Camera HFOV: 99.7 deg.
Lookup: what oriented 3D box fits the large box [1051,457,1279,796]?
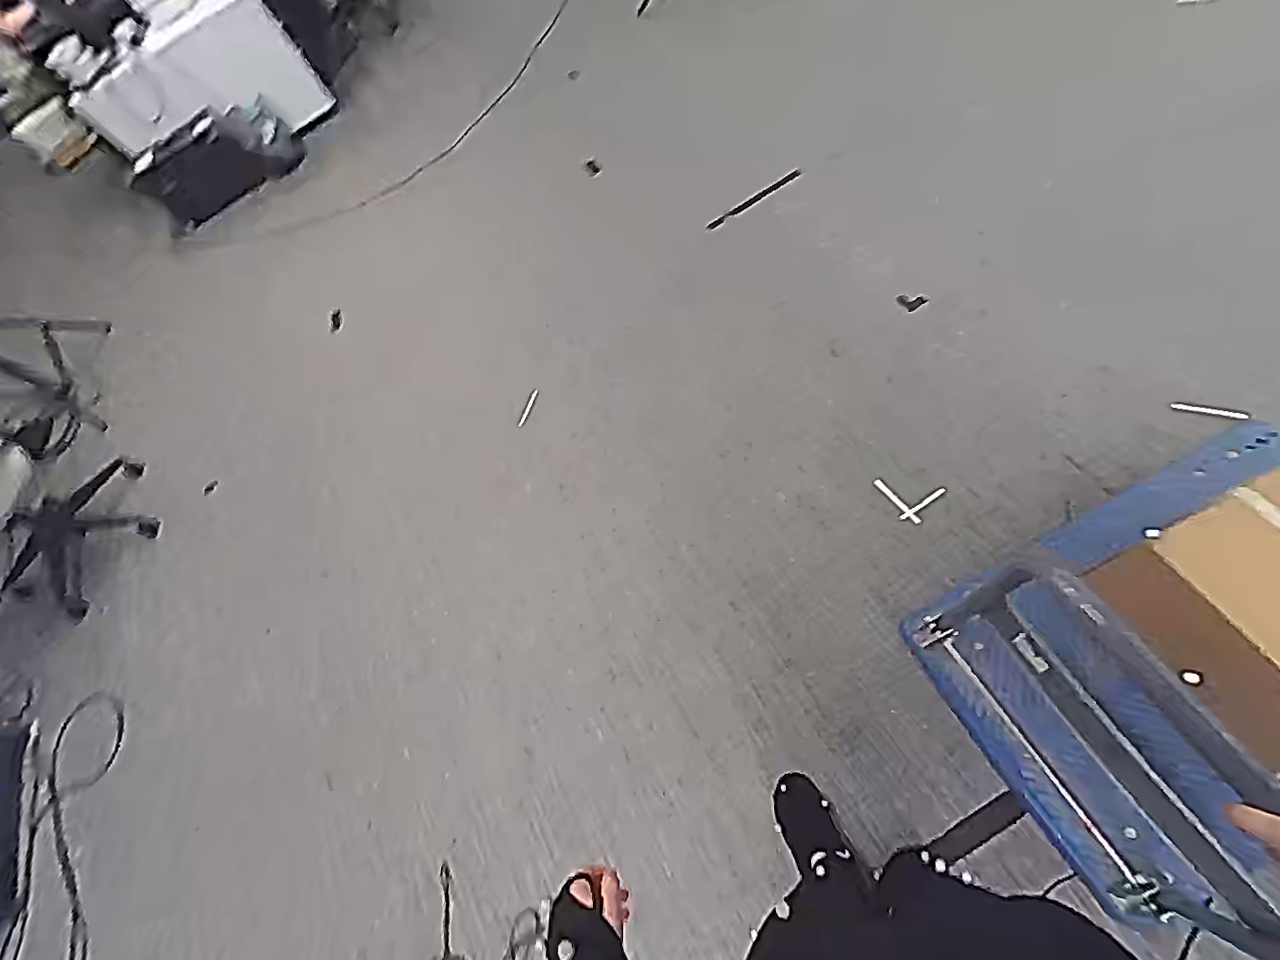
[{"bbox_3d":[1.020,0.248,0.892,0.320,0.320,0.408,-30,60,0],"label":"large box"}]
